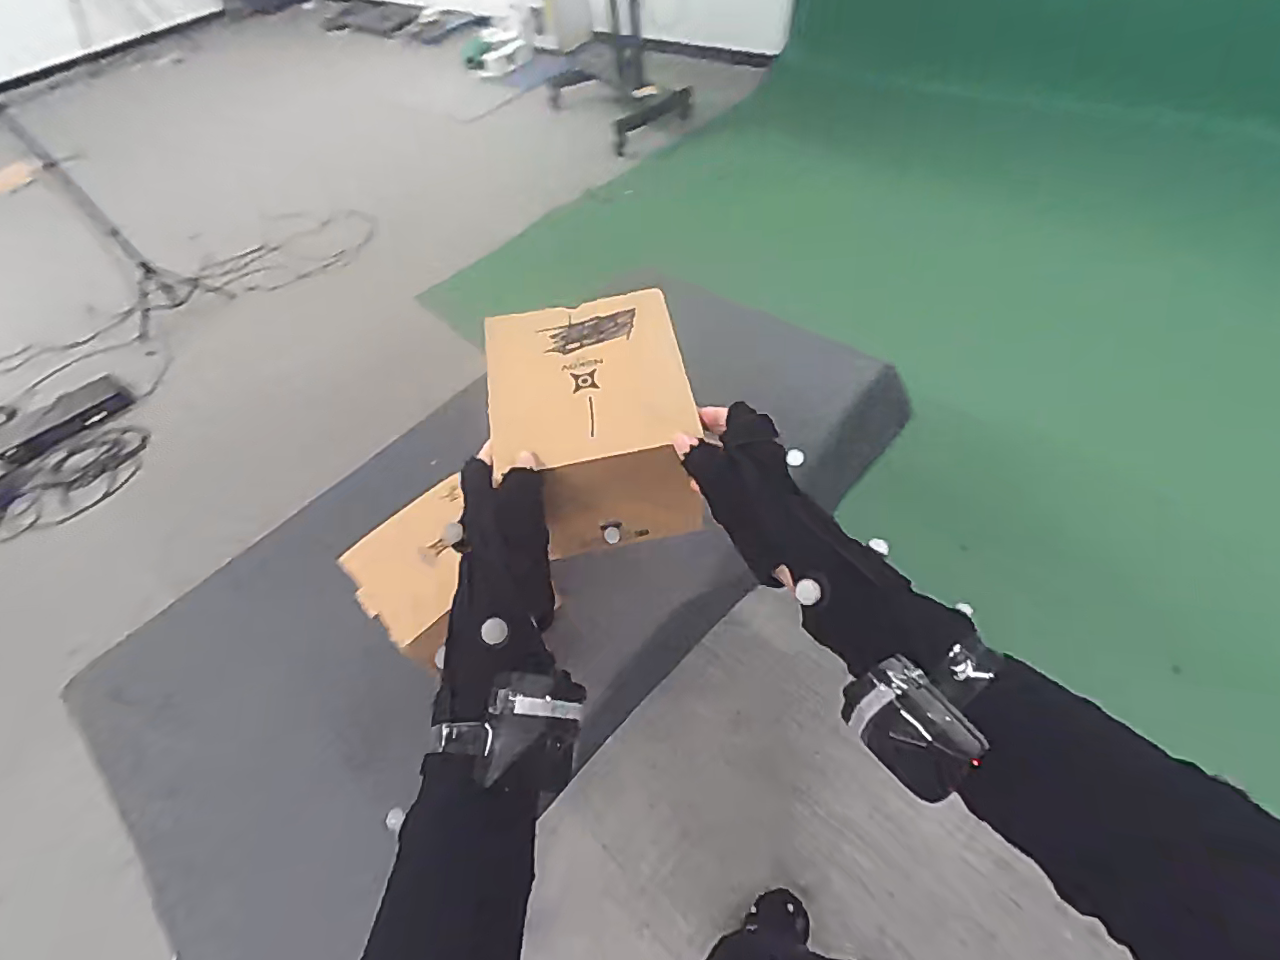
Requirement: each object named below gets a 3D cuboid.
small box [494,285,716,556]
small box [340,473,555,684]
[{"bbox_3d":[-0.032,-0.051,0.520,0.168,0.176,0.179,-13,59,-2],"label":"small box"},{"bbox_3d":[-0.237,0.132,0.702,0.179,0.176,0.168,-41,58,-19],"label":"small box"}]
